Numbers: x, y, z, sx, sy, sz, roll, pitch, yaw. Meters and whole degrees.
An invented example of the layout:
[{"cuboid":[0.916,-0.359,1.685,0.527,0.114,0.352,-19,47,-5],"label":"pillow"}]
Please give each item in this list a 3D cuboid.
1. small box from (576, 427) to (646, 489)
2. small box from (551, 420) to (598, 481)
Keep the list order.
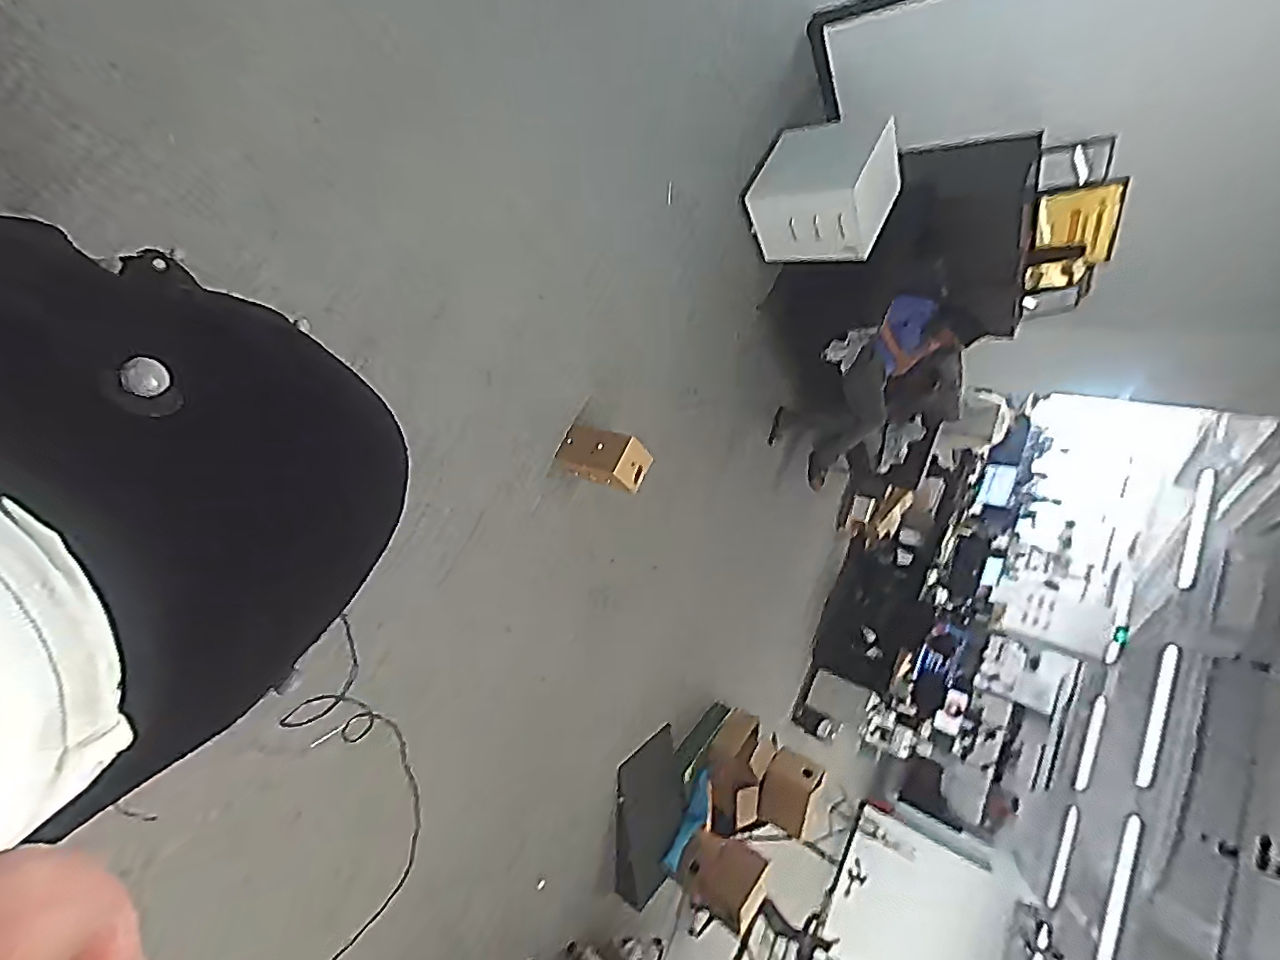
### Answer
[{"cuboid":[-0.113,-0.091,2.106,0.179,0.176,0.168,44,67,-50],"label":"small box"},{"cuboid":[-0.239,-0.124,2.209,0.168,0.176,0.179,46,66,-51],"label":"small box"}]
